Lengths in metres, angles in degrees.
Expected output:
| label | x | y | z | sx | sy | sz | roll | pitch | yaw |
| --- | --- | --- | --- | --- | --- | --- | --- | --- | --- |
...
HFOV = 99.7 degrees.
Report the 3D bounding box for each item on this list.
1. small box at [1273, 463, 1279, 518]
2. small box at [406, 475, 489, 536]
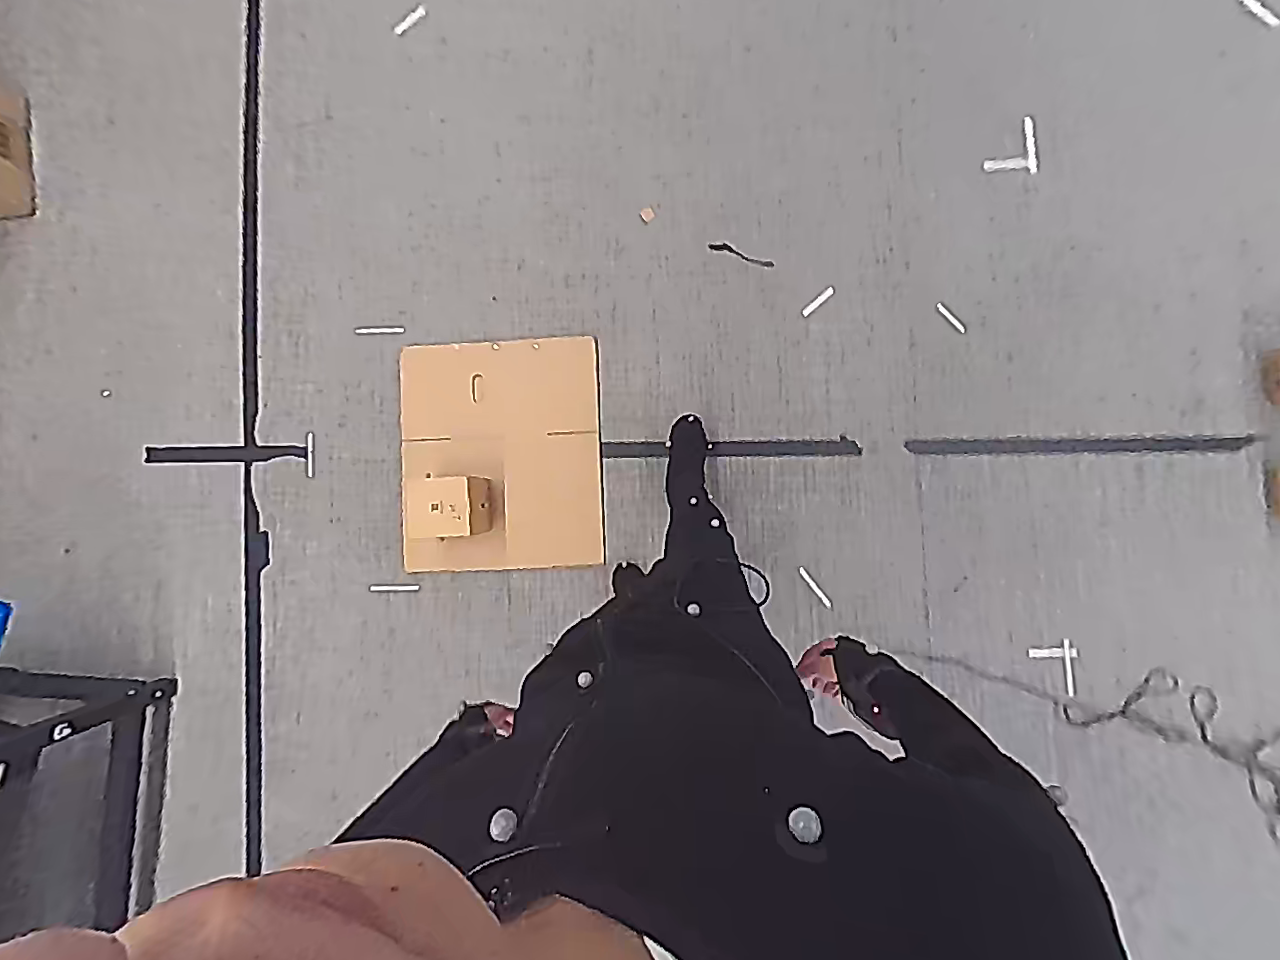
| label | x | y | z | sx | sy | sz | roll | pitch | yaw |
| --- | --- | --- | --- | --- | --- | --- | --- | --- | --- |
| small box | 1.905 | 0.024 | 1.478 | 0.179 | 0.176 | 0.168 | -4 | 87 | 2 |
| small box | -0.547 | 0.073 | 1.551 | 0.179 | 0.176 | 0.168 | -3 | 88 | 2 |
